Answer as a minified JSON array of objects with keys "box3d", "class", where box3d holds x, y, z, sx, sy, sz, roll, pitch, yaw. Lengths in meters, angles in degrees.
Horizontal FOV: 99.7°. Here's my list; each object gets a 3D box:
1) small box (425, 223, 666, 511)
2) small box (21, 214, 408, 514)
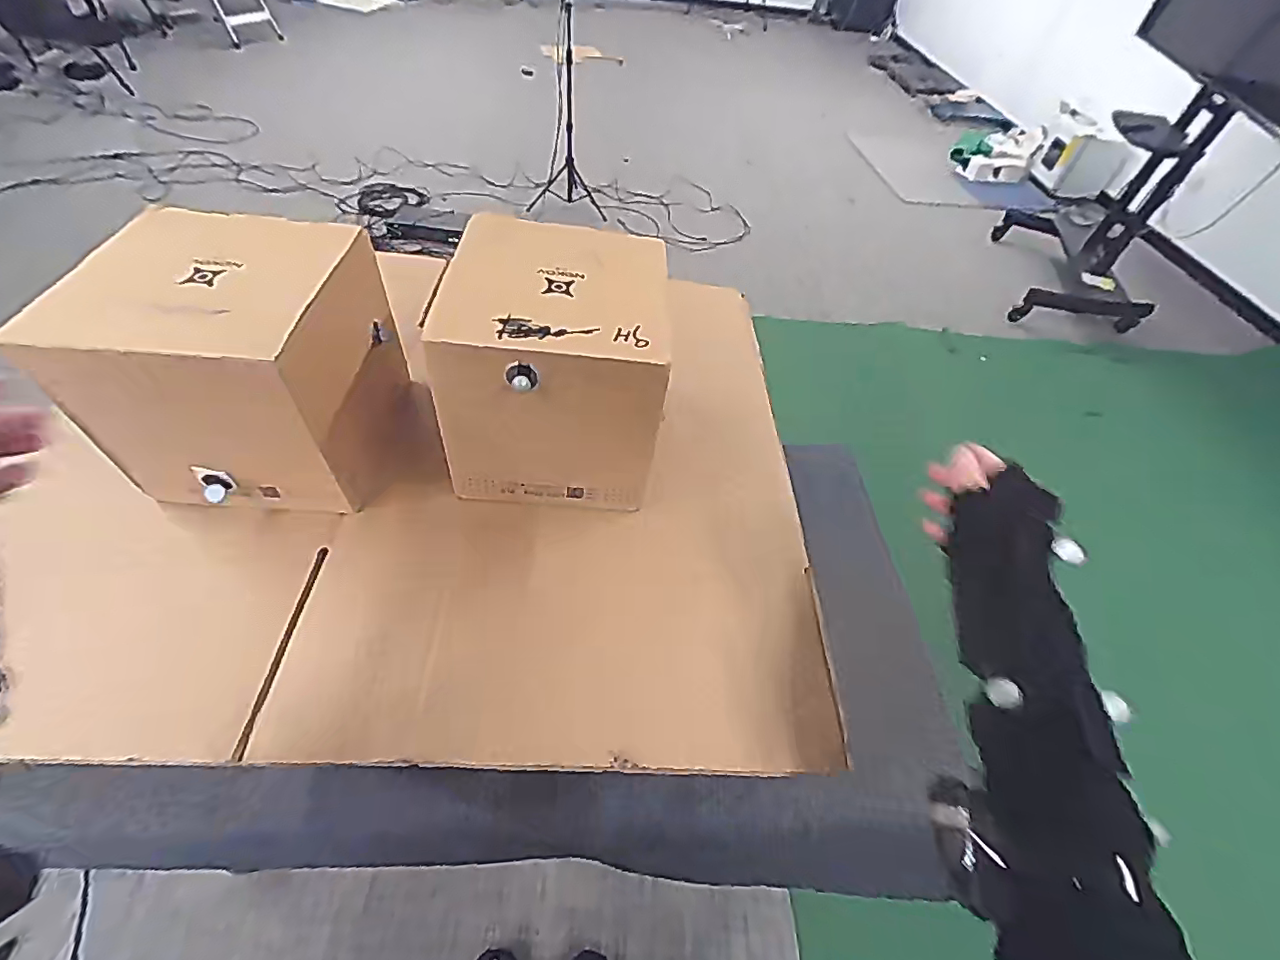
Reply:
[{"box3d":[-0.071,-0.096,0.477,0.168,0.176,0.179,5,50,-4],"class":"small box"},{"box3d":[-0.312,-0.093,0.454,0.168,0.176,0.179,3,52,-4],"class":"small box"}]
